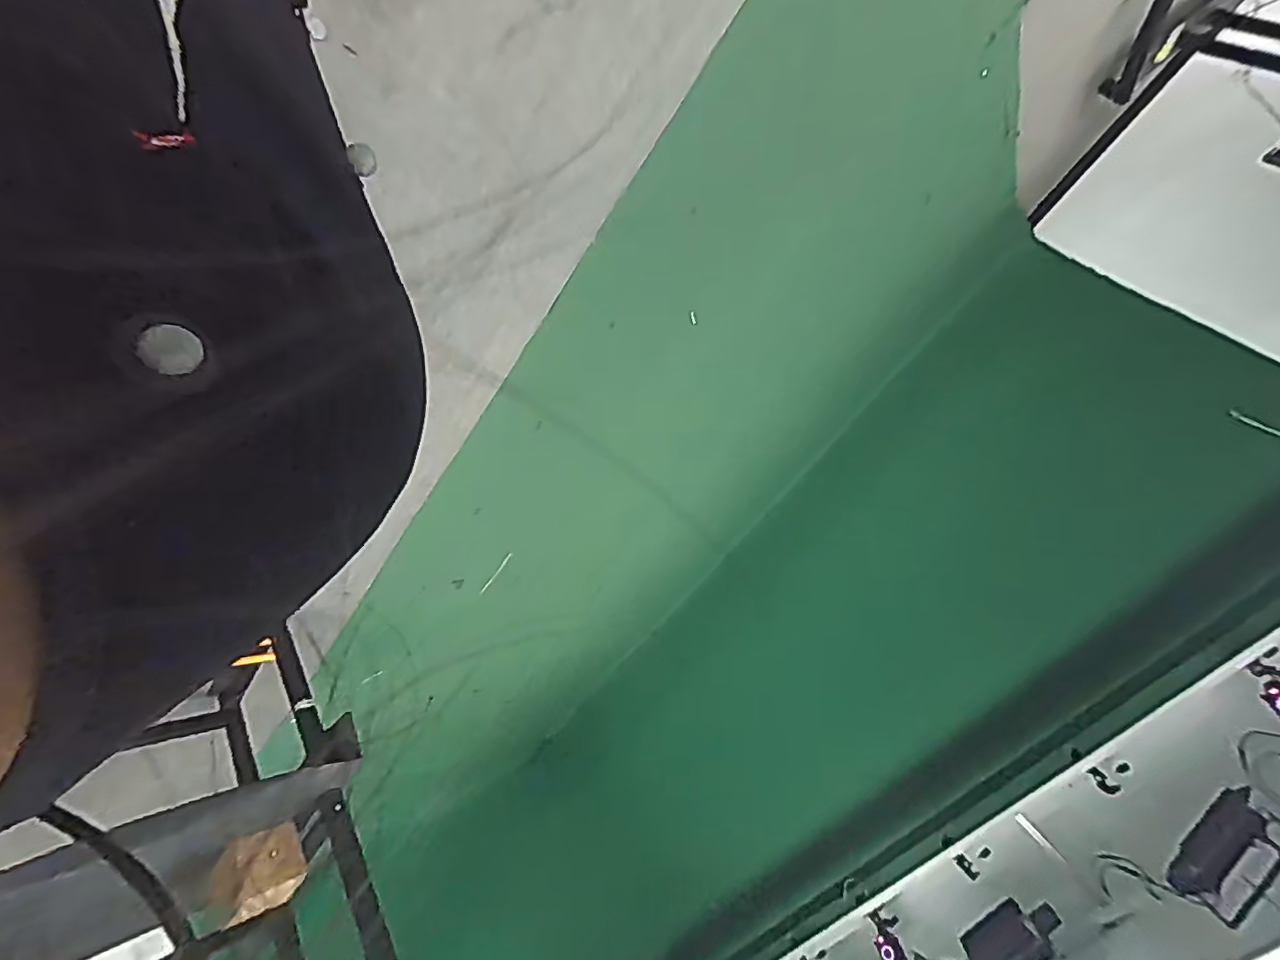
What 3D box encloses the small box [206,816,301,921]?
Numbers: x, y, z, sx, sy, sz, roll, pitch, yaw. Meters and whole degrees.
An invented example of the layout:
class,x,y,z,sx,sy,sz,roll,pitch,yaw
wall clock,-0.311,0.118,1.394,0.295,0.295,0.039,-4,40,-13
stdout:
class,x,y,z,sx,sy,sz,roll,pitch,yaw
small box,-1.143,1.131,1.593,0.179,0.176,0.168,-49,150,18
